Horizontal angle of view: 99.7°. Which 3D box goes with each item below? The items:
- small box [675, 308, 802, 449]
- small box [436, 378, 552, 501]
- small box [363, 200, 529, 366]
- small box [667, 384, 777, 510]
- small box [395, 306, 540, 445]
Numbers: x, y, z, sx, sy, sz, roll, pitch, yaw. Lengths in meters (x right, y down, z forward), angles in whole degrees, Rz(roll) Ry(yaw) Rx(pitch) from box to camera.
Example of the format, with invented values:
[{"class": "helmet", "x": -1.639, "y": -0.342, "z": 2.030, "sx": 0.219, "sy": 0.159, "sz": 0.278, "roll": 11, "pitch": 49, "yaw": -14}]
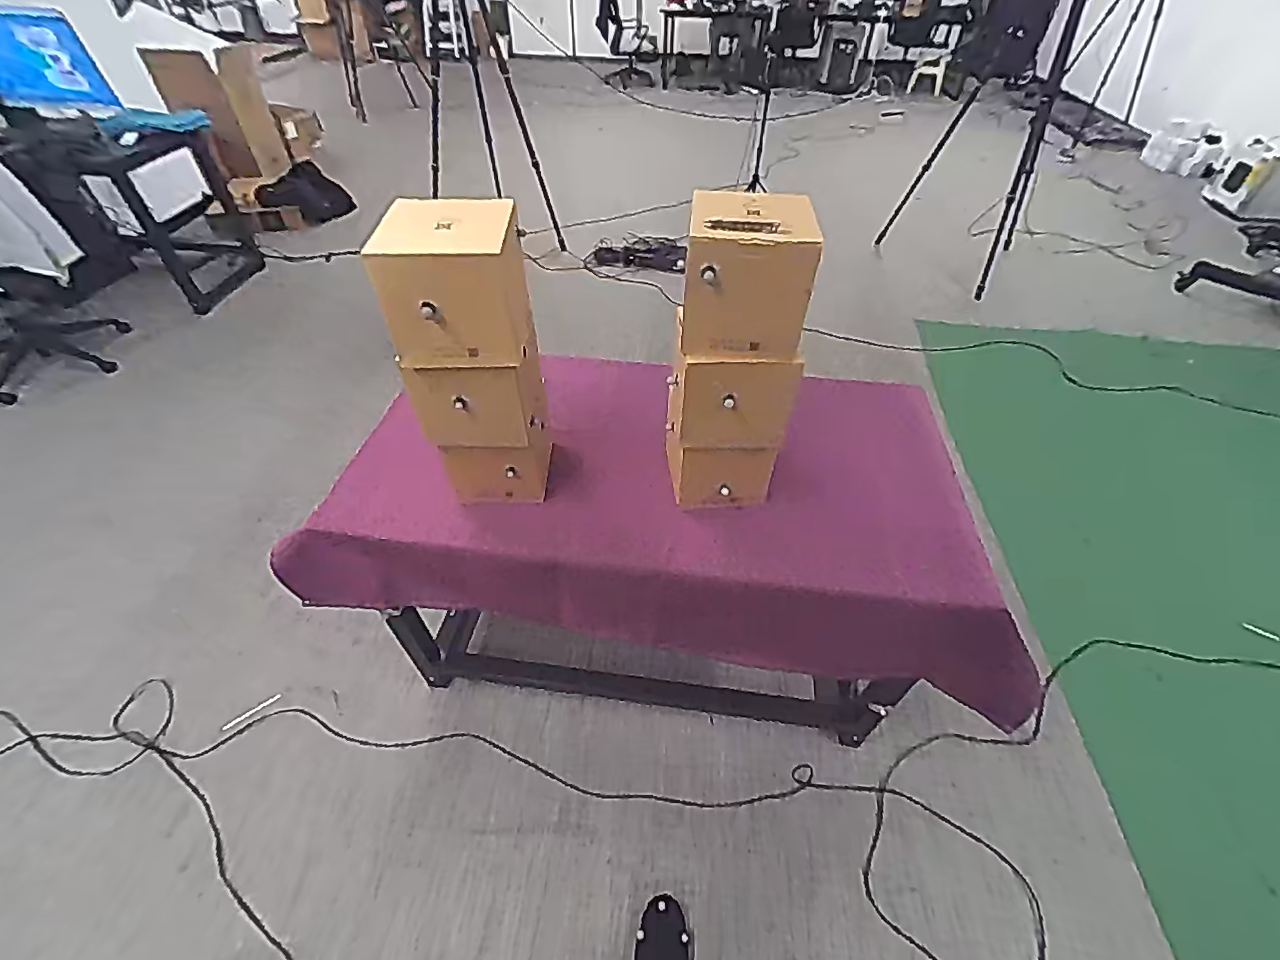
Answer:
[{"class": "small box", "x": 0.147, "y": -0.163, "z": 0.880, "sx": 0.179, "sy": 0.176, "sz": 0.168, "roll": 1, "pitch": 47, "yaw": 0}, {"class": "small box", "x": -0.263, "y": -0.076, "z": 1.020, "sx": 0.168, "sy": 0.176, "sz": 0.179, "roll": 2, "pitch": 46, "yaw": 0}, {"class": "small box", "x": -0.253, "y": -0.274, "z": 0.758, "sx": 0.168, "sy": 0.176, "sz": 0.179, "roll": -1, "pitch": 46, "yaw": -3}, {"class": "small box", "x": 0.143, "y": -0.064, "z": 1.013, "sx": 0.168, "sy": 0.176, "sz": 0.179, "roll": -3, "pitch": 46, "yaw": -3}, {"class": "small box", "x": -0.264, "y": -0.171, "z": 0.884, "sx": 0.179, "sy": 0.176, "sz": 0.168, "roll": 2, "pitch": 46, "yaw": 0}]
